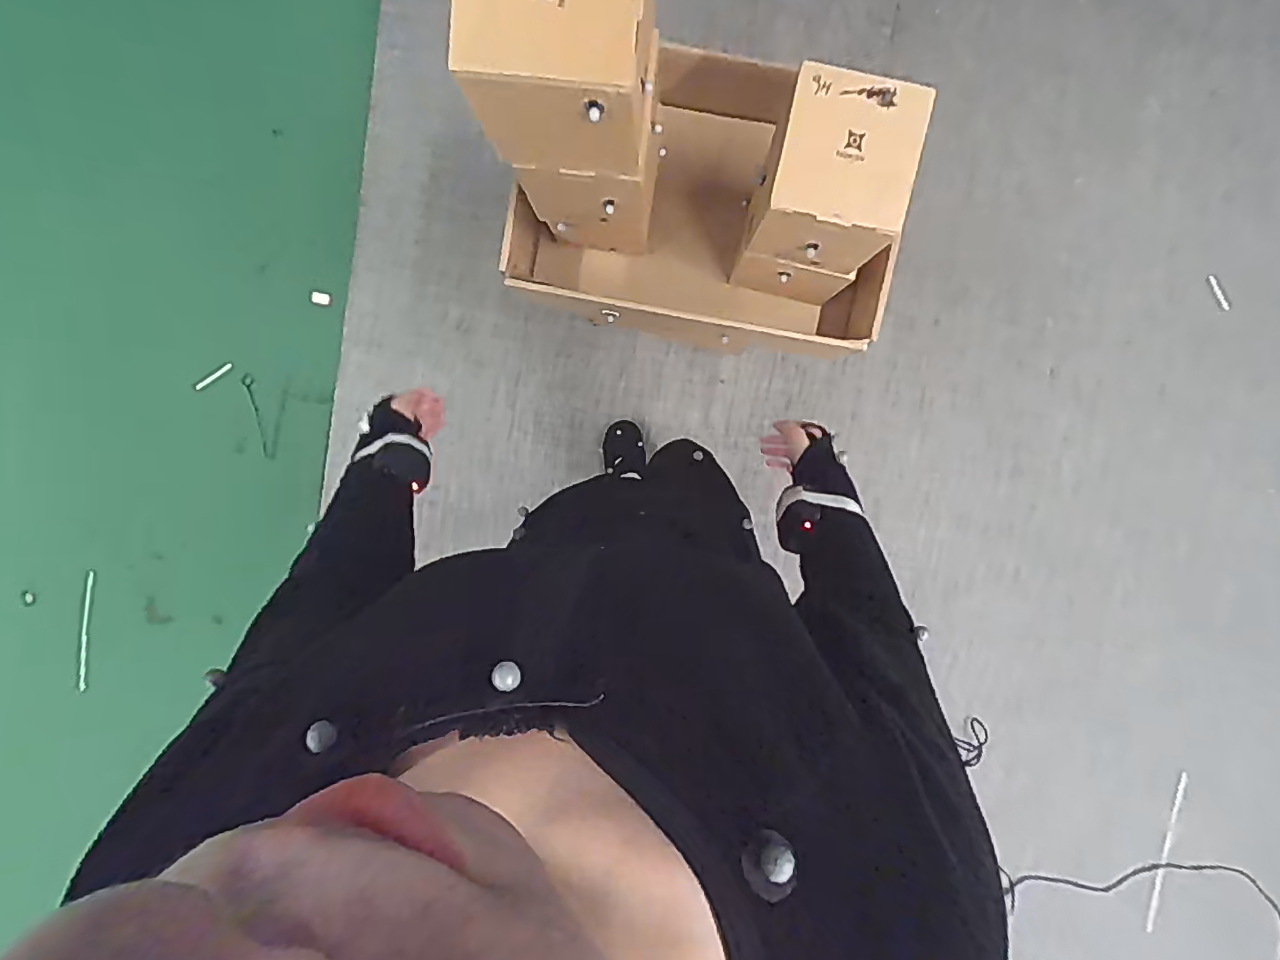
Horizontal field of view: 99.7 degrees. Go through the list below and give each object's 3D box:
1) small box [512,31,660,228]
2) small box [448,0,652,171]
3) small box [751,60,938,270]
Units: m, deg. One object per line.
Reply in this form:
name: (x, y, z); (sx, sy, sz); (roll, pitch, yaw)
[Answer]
small box: (-0.064, -0.464, 0.731); (0.168, 0.176, 0.179); (7, 95, 0)
small box: (-0.082, -0.451, 0.569); (0.179, 0.176, 0.168); (5, 95, 0)
small box: (0.256, -0.402, 0.726); (0.168, 0.176, 0.179); (13, 96, -1)
